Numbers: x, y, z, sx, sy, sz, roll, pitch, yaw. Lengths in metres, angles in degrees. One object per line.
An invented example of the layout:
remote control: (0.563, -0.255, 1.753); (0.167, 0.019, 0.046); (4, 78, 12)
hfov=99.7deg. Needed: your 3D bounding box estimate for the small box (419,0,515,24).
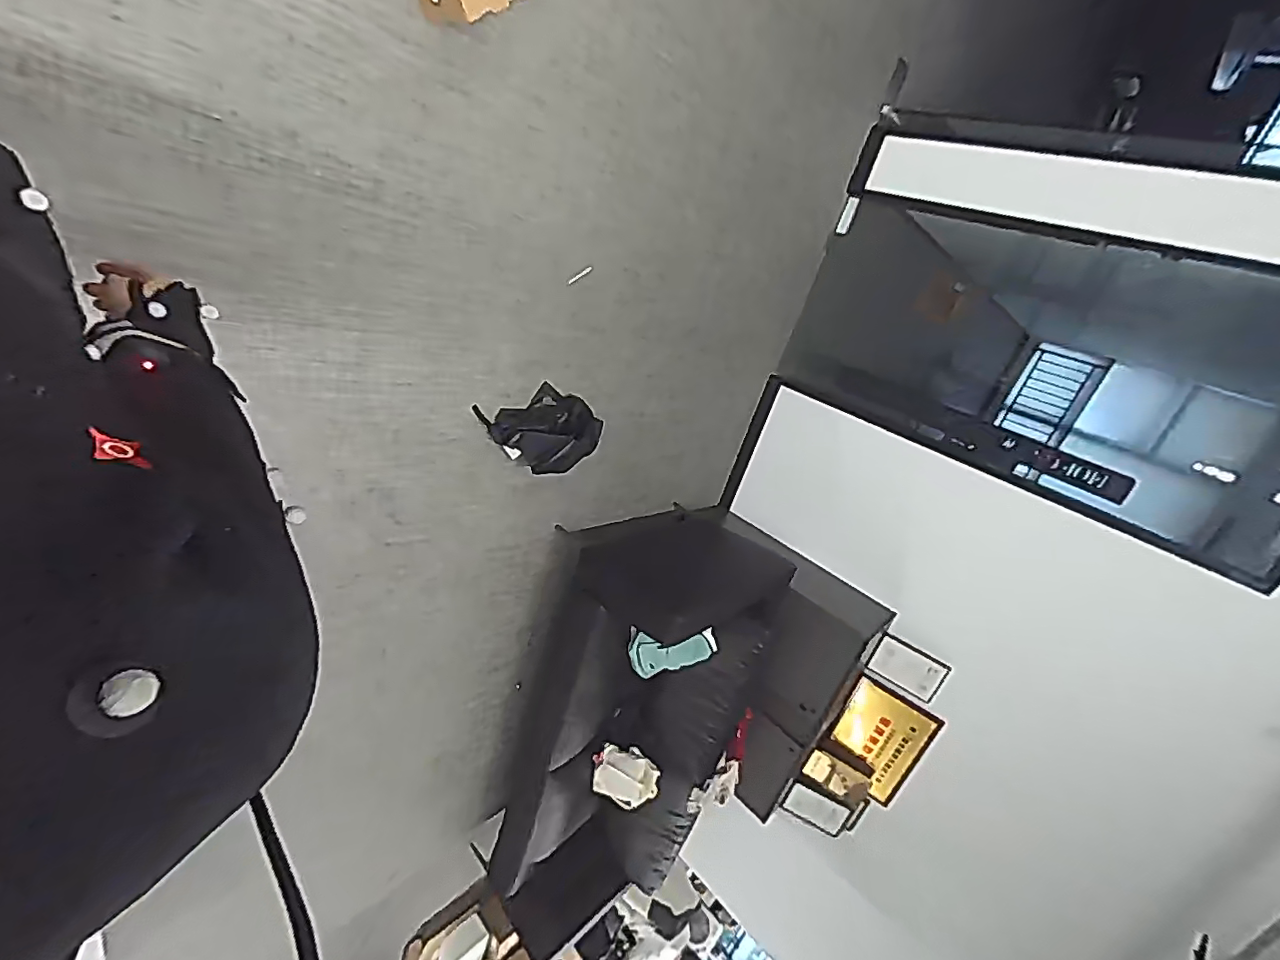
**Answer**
small box: (-0.348, -1.016, 1.037); (0.168, 0.176, 0.179); (-45, 145, -19)
